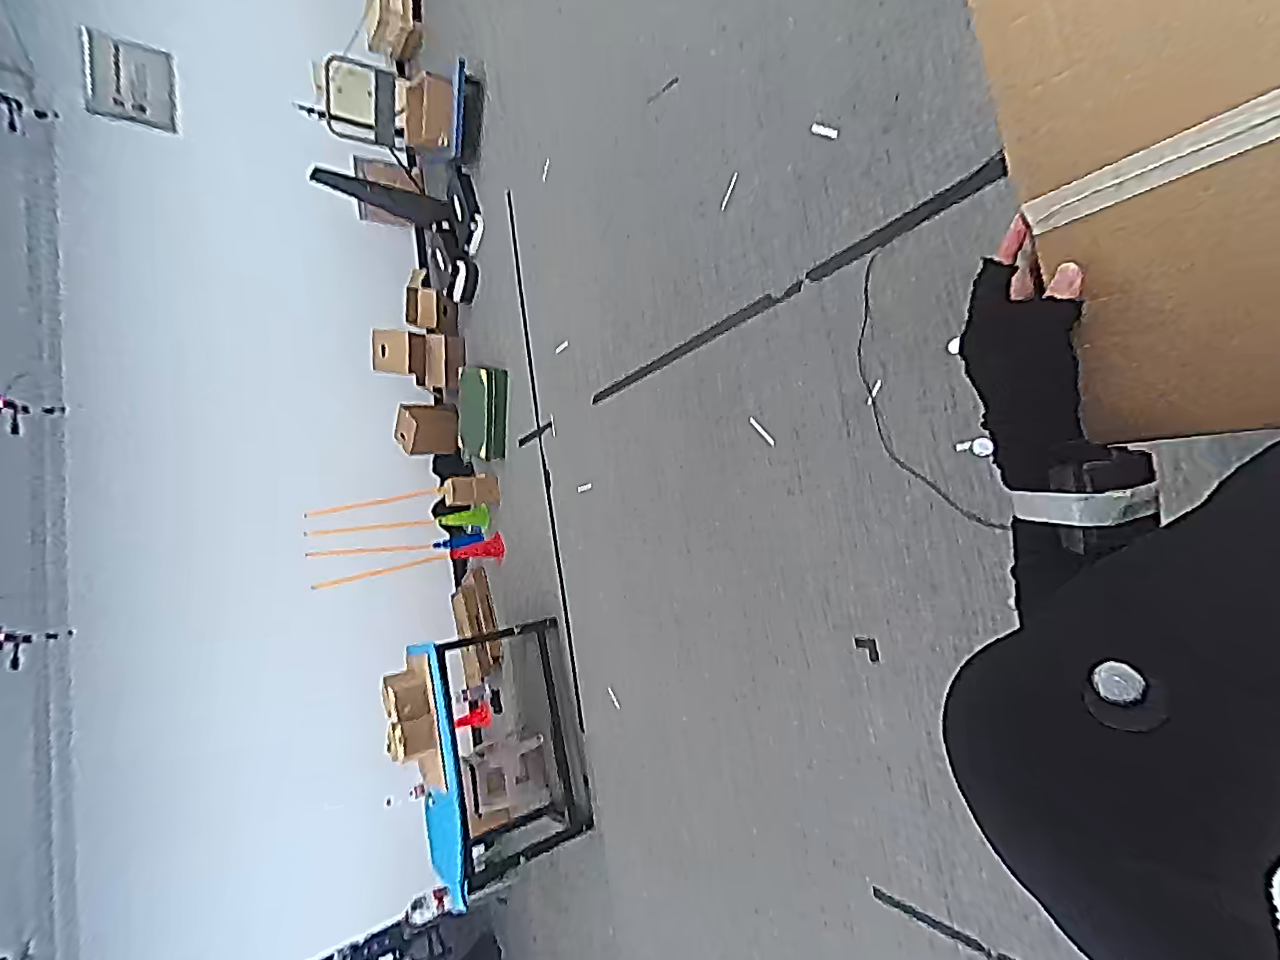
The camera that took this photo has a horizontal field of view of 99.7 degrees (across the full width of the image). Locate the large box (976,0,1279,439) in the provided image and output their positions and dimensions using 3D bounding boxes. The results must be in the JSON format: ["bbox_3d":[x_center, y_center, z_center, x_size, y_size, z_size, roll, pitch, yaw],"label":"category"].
[{"bbox_3d":[0.477,-0.239,0.267,0.408,0.320,0.320,-8,106,57],"label":"large box"}]
